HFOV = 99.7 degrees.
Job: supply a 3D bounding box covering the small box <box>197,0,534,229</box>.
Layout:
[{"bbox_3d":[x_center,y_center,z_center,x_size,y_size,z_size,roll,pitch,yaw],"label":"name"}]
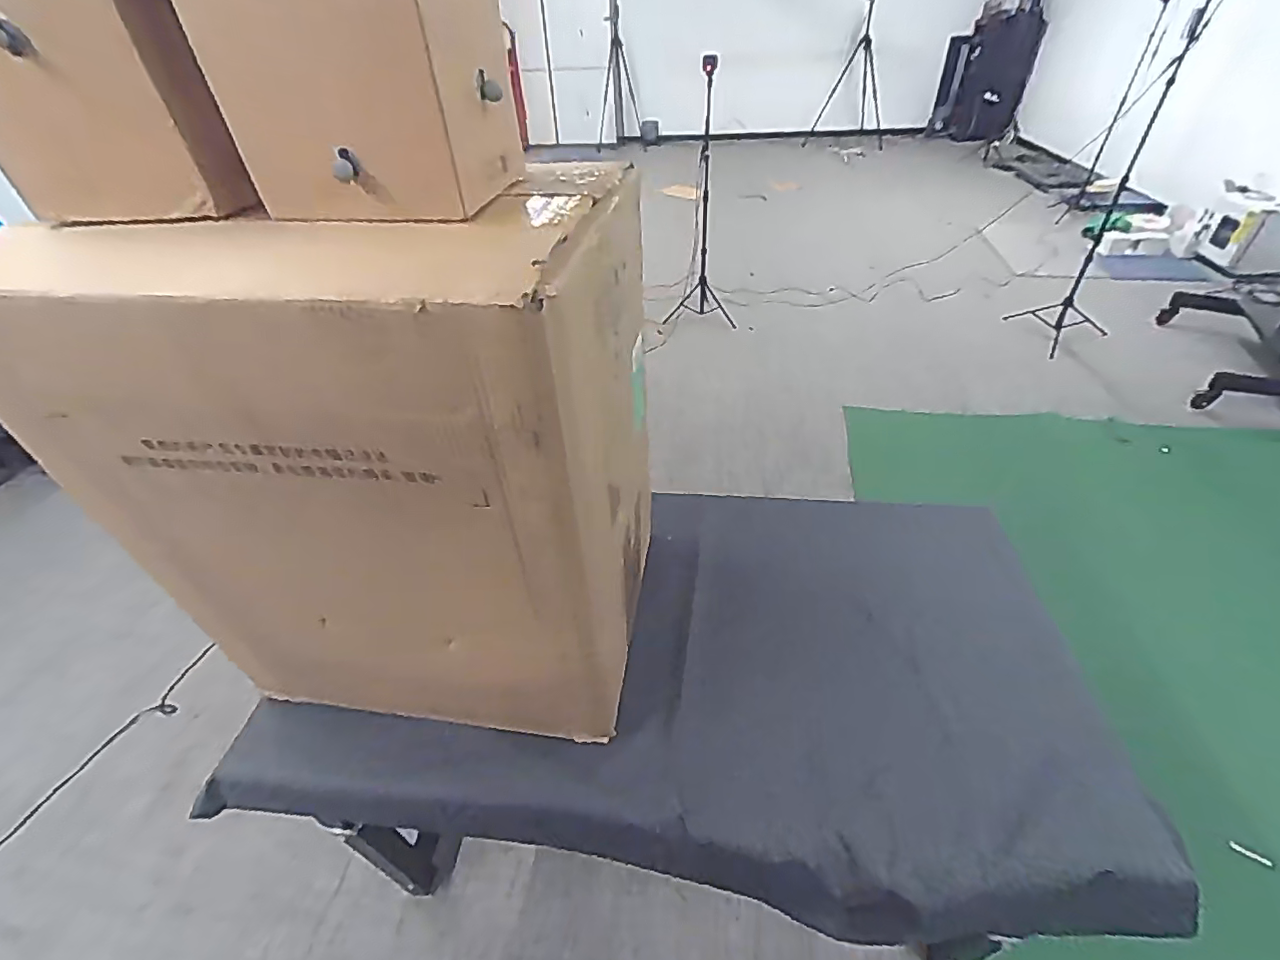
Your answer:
[{"bbox_3d":[-0.201,-0.322,0.455,0.179,0.176,0.168,3,41,8],"label":"small box"}]
